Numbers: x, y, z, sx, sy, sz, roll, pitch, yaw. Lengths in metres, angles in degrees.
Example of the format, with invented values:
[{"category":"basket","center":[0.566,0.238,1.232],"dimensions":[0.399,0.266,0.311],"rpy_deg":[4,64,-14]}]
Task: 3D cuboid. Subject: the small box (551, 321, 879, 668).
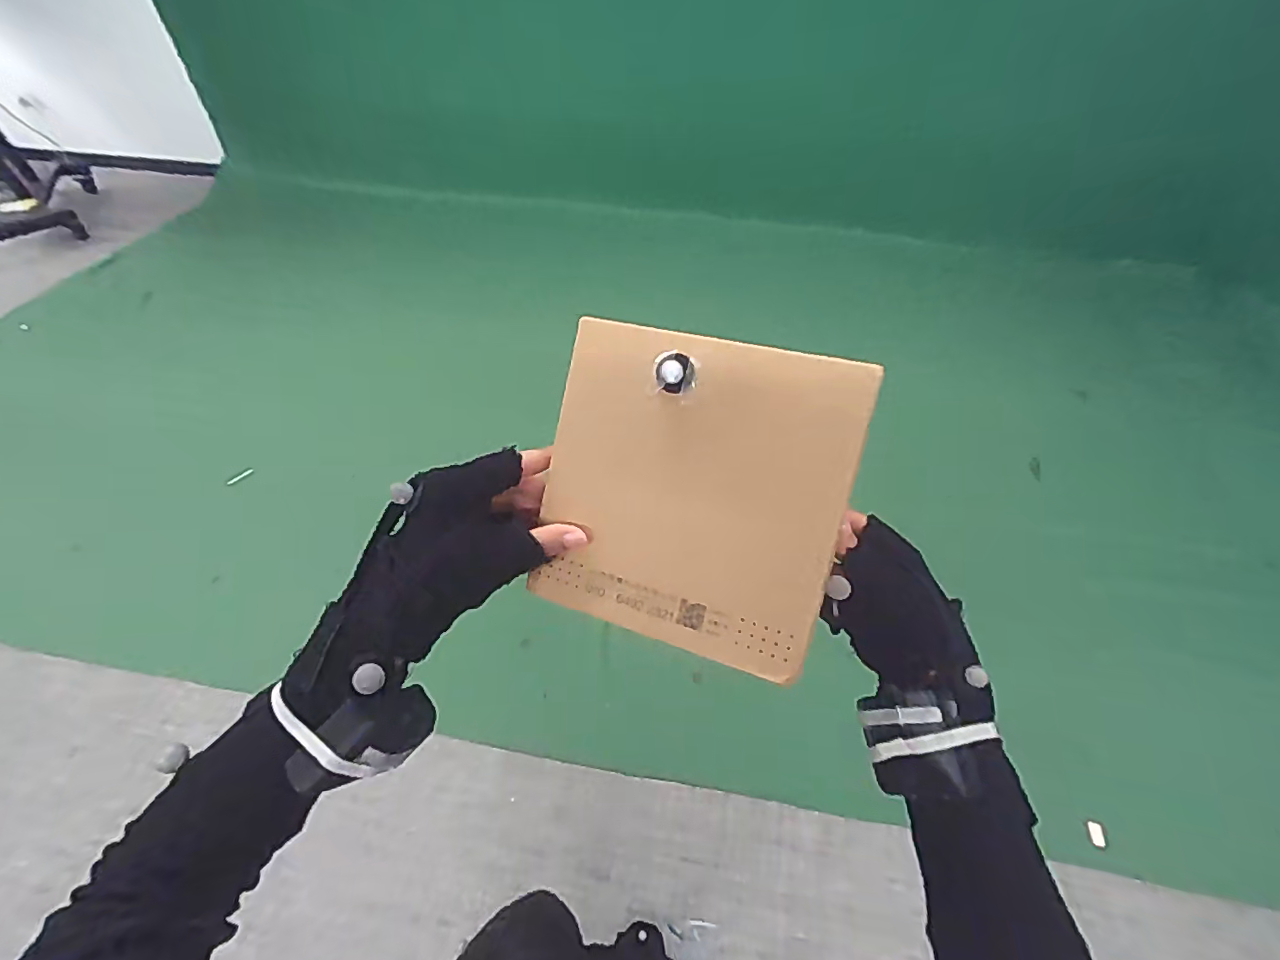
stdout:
[{"category":"small box","center":[0.056,0.004,0.382],"dimensions":[0.168,0.176,0.179],"rpy_deg":[15,7,19]}]
